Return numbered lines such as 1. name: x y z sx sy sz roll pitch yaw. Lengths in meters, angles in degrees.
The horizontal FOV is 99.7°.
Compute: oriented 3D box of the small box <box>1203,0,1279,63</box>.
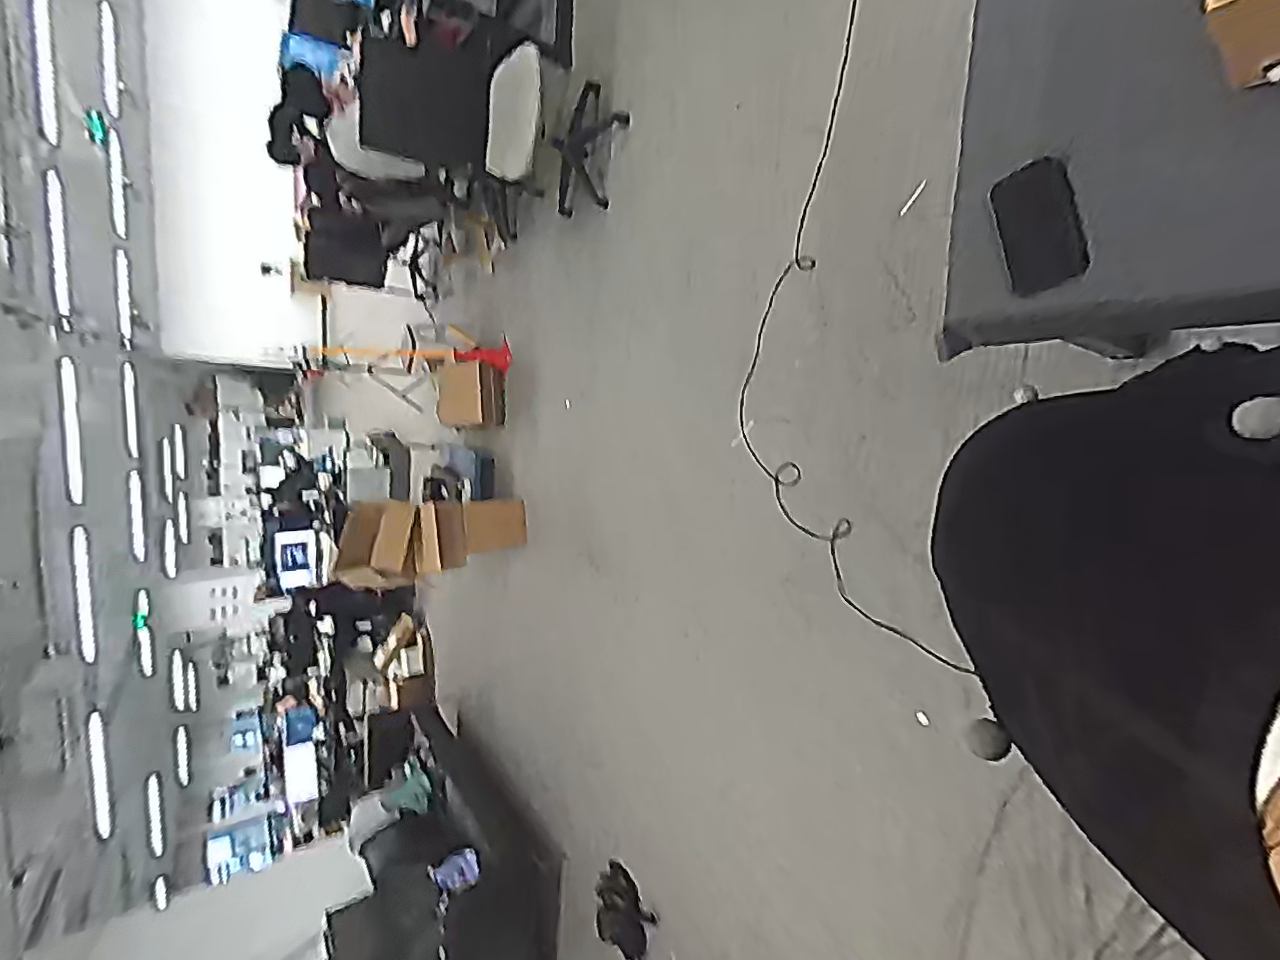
1. small box: 0.569 -0.462 0.408 0.168 0.176 0.179 10 99 52
